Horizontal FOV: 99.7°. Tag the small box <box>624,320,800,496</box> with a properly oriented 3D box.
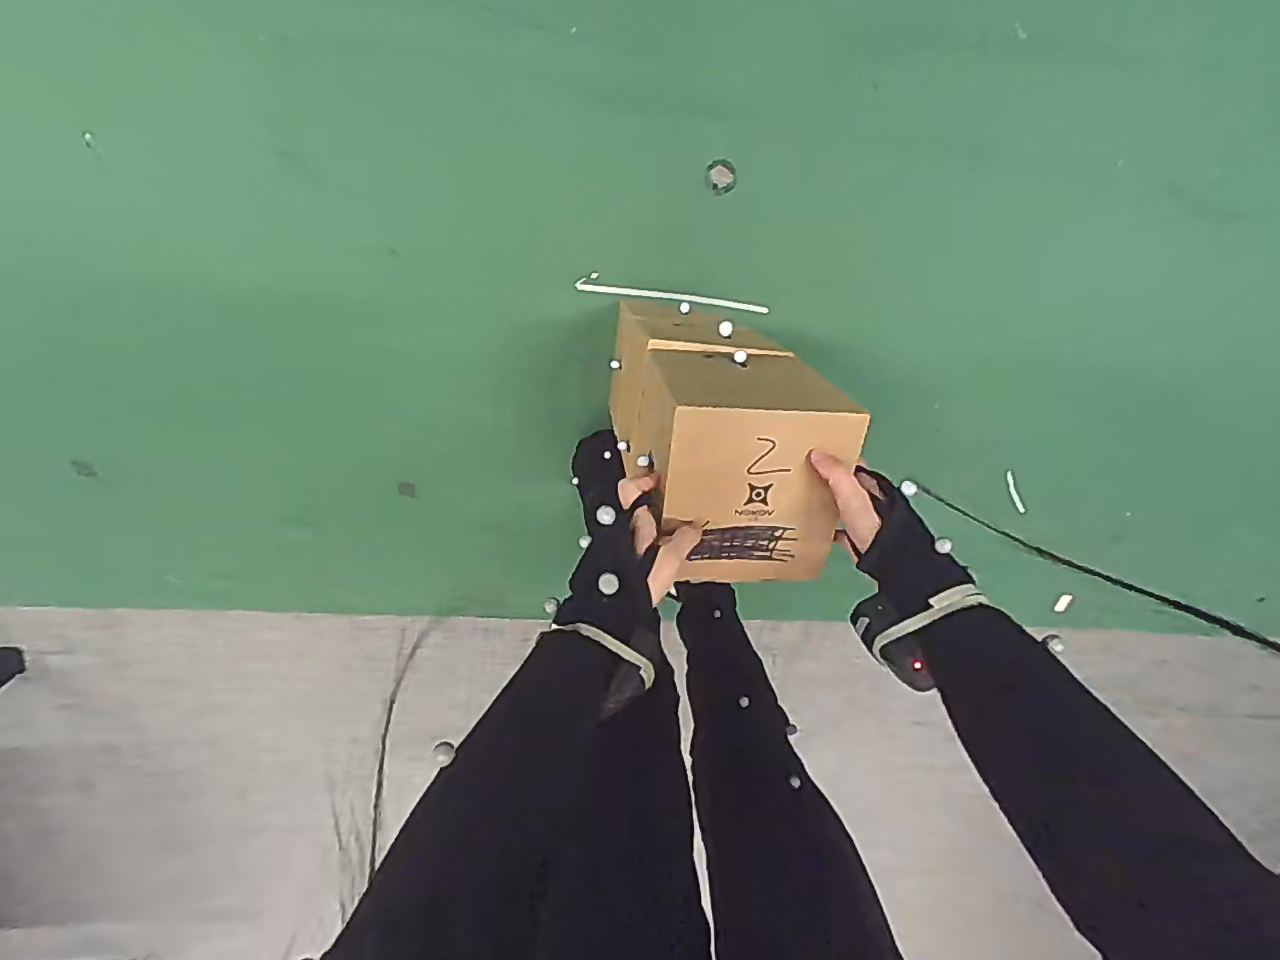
[{"bbox_3d":[0.075,-0.098,0.684,0.168,0.176,0.179,5,114,-10],"label":"small box"}]

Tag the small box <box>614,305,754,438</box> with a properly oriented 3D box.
[{"bbox_3d":[0.054,-0.163,0.831,0.168,0.176,0.179,6,114,-9],"label":"small box"}]
